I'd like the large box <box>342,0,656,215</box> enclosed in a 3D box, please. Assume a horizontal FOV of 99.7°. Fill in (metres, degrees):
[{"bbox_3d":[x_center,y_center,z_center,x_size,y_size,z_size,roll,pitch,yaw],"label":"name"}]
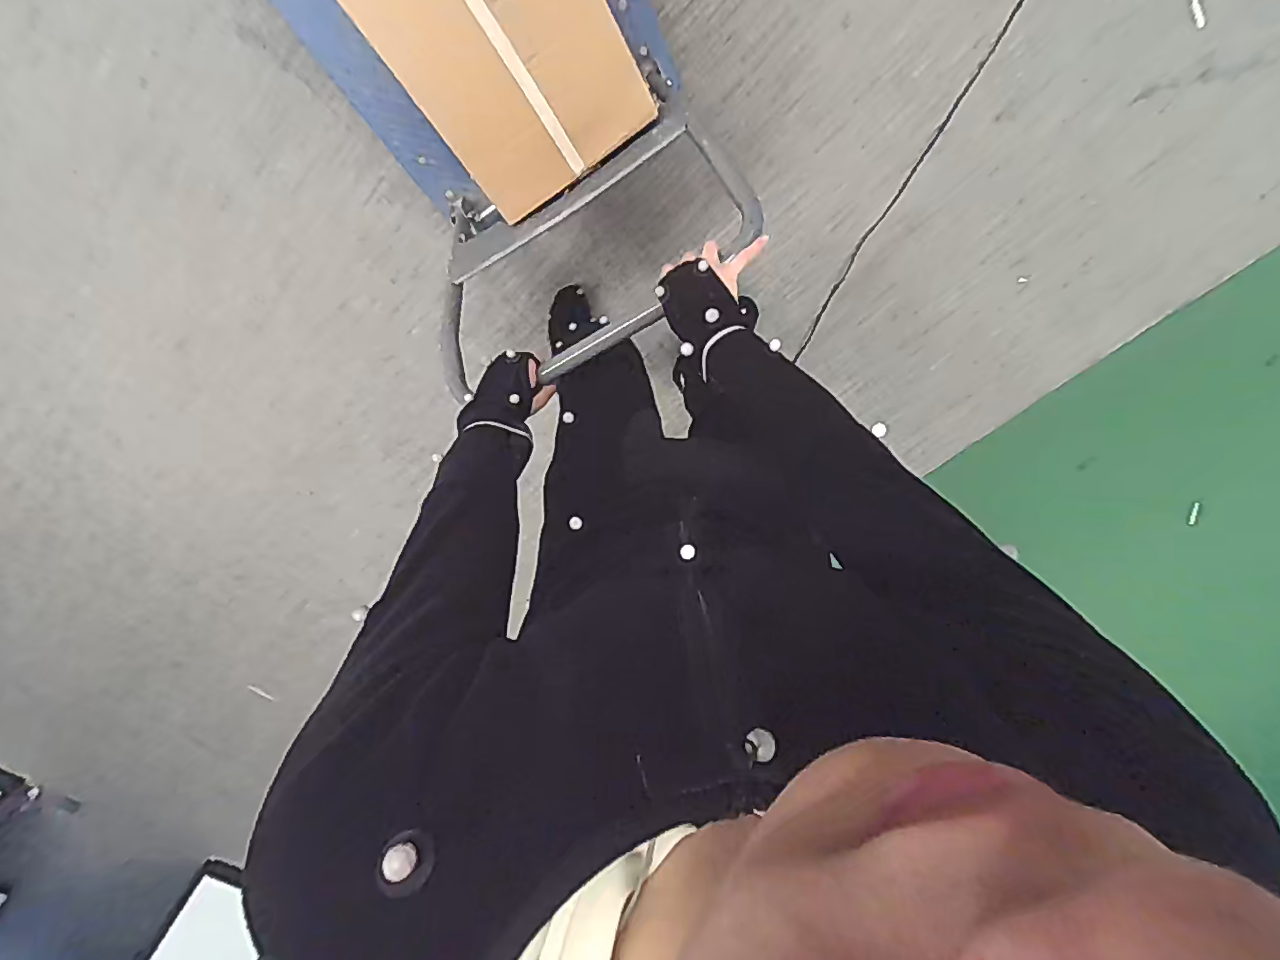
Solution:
[{"bbox_3d":[-0.220,-0.754,0.910,0.320,0.320,0.408,-29,132,17],"label":"large box"}]
